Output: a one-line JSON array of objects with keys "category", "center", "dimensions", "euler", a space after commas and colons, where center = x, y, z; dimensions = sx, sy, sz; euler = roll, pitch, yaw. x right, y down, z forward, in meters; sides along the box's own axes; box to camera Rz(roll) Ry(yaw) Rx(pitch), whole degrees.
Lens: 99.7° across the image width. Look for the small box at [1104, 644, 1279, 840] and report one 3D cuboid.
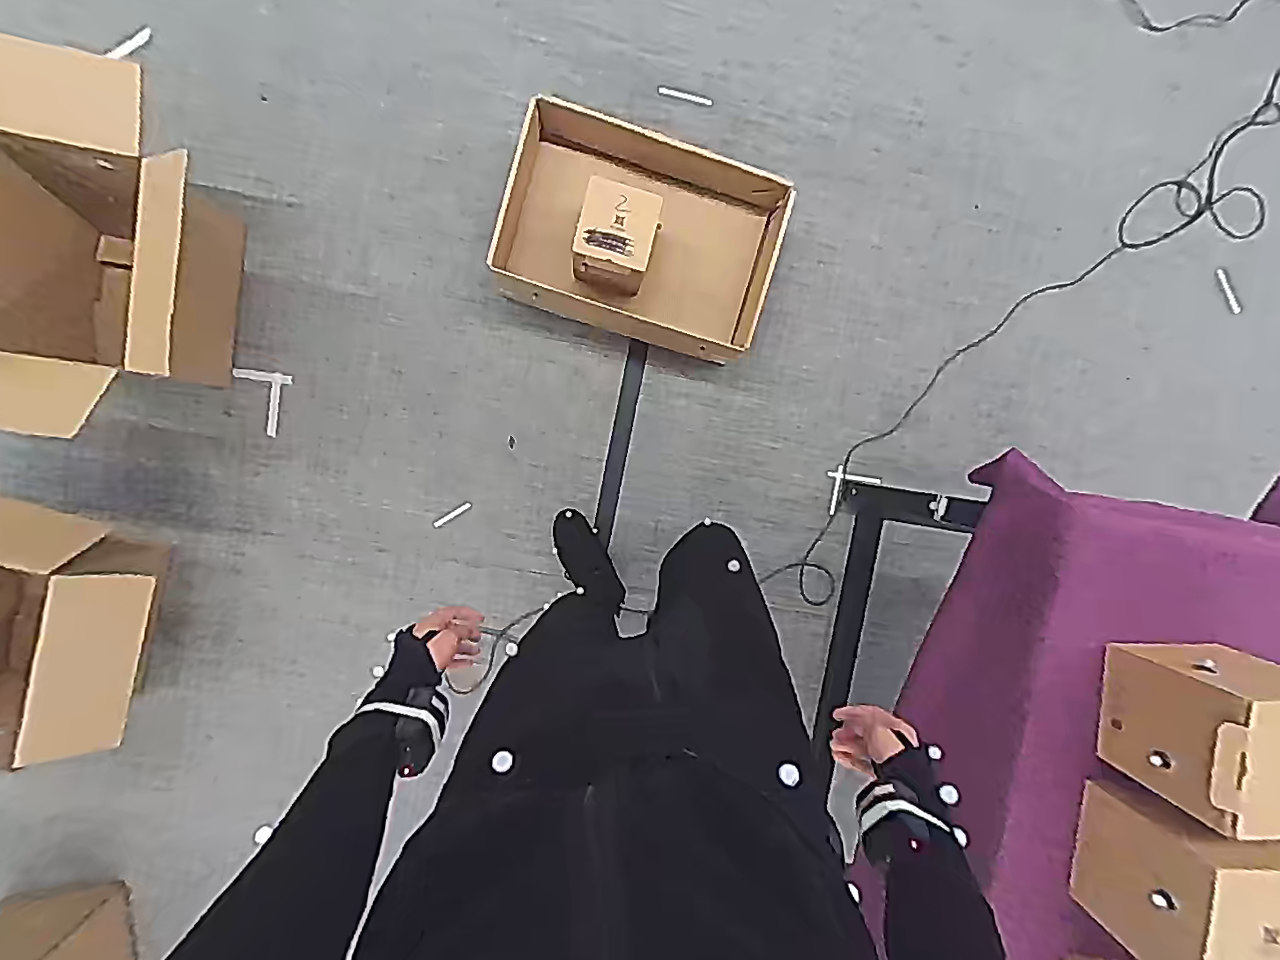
[{"category": "small box", "center": [0.744, 0.318, 0.684], "dimensions": [0.179, 0.176, 0.168], "euler": [2, 95, -5]}]
